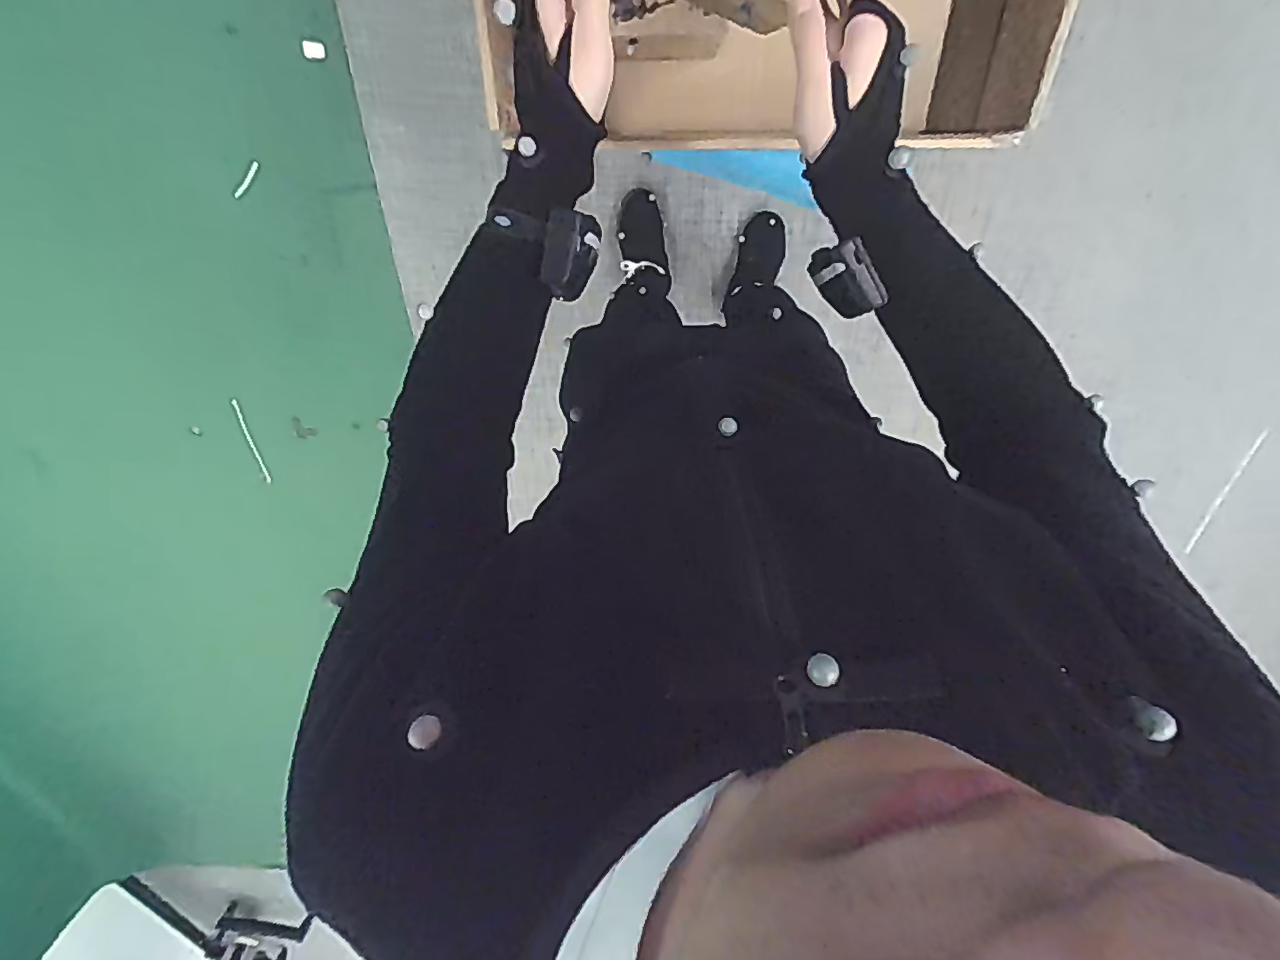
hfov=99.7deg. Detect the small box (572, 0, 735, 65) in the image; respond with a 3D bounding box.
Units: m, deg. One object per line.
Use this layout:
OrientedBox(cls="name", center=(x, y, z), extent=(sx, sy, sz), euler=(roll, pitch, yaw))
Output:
OrientedBox(cls="small box", center=(0.017, -0.569, 0.579), extent=(0.168, 0.176, 0.179), euler=(1, 120, 3))
